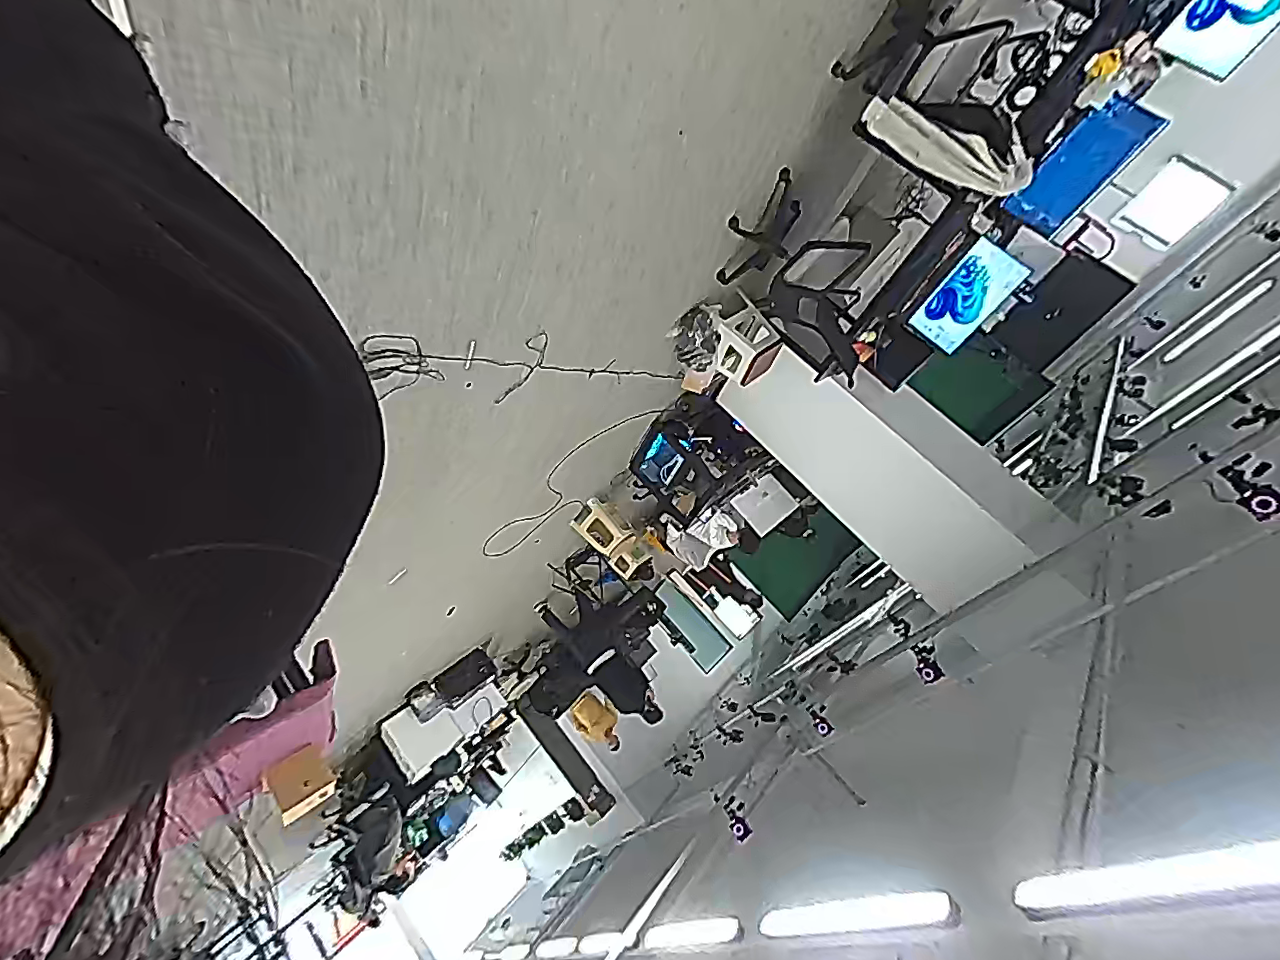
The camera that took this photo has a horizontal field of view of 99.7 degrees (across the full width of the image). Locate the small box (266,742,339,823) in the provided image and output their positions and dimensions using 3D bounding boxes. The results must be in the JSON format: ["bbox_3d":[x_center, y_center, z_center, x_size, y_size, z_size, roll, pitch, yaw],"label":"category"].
[{"bbox_3d":[-1.232,1.097,1.974,0.179,0.176,0.168,-25,154,-45],"label":"small box"}]
